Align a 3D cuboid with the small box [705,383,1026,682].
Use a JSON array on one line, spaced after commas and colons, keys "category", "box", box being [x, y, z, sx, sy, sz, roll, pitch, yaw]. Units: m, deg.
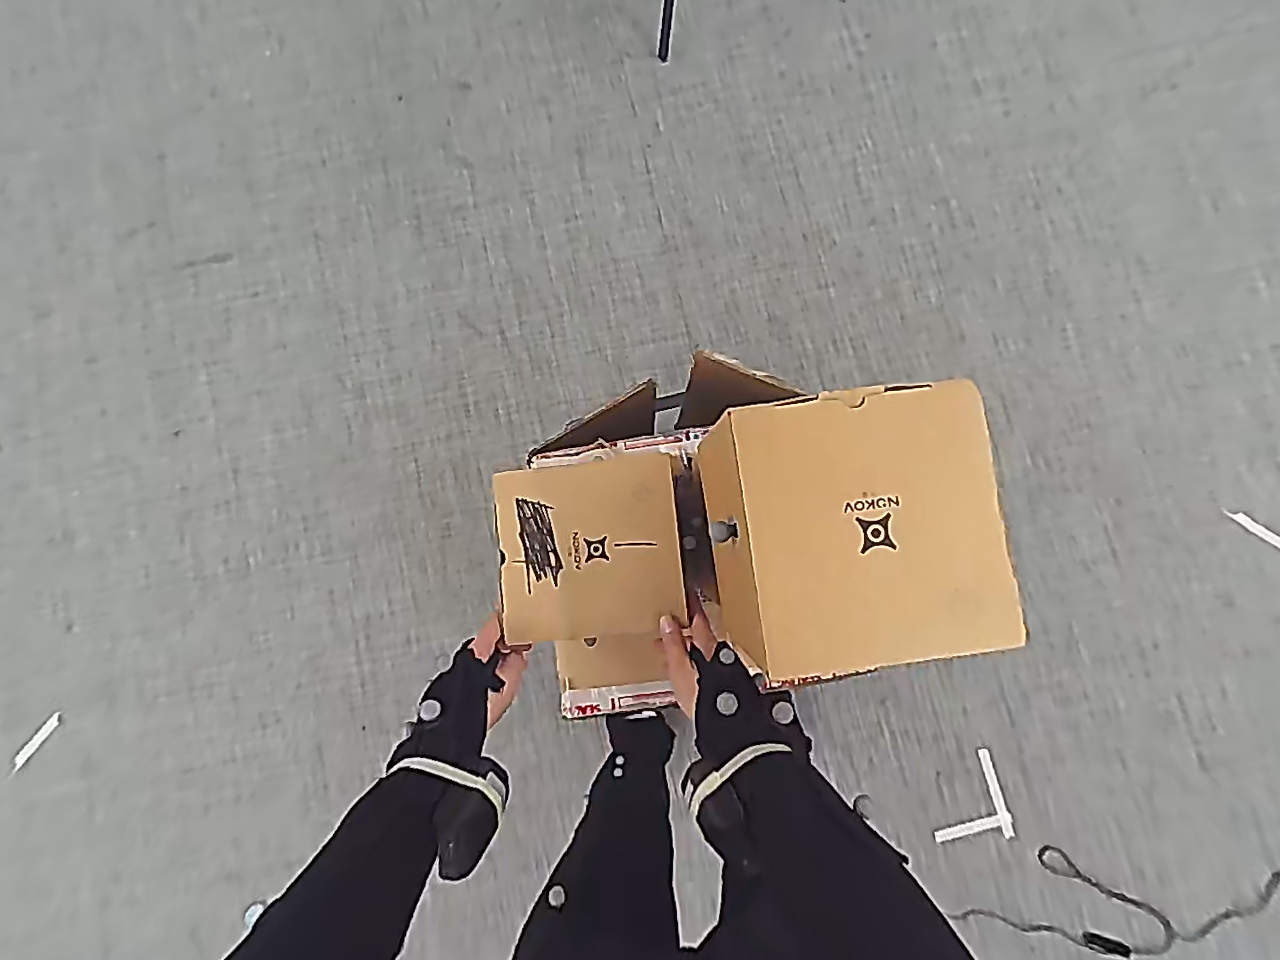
[{"category": "small box", "box": [0.151, 0.038, 0.425, 0.168, 0.176, 0.179, -8, 84, -1]}]
